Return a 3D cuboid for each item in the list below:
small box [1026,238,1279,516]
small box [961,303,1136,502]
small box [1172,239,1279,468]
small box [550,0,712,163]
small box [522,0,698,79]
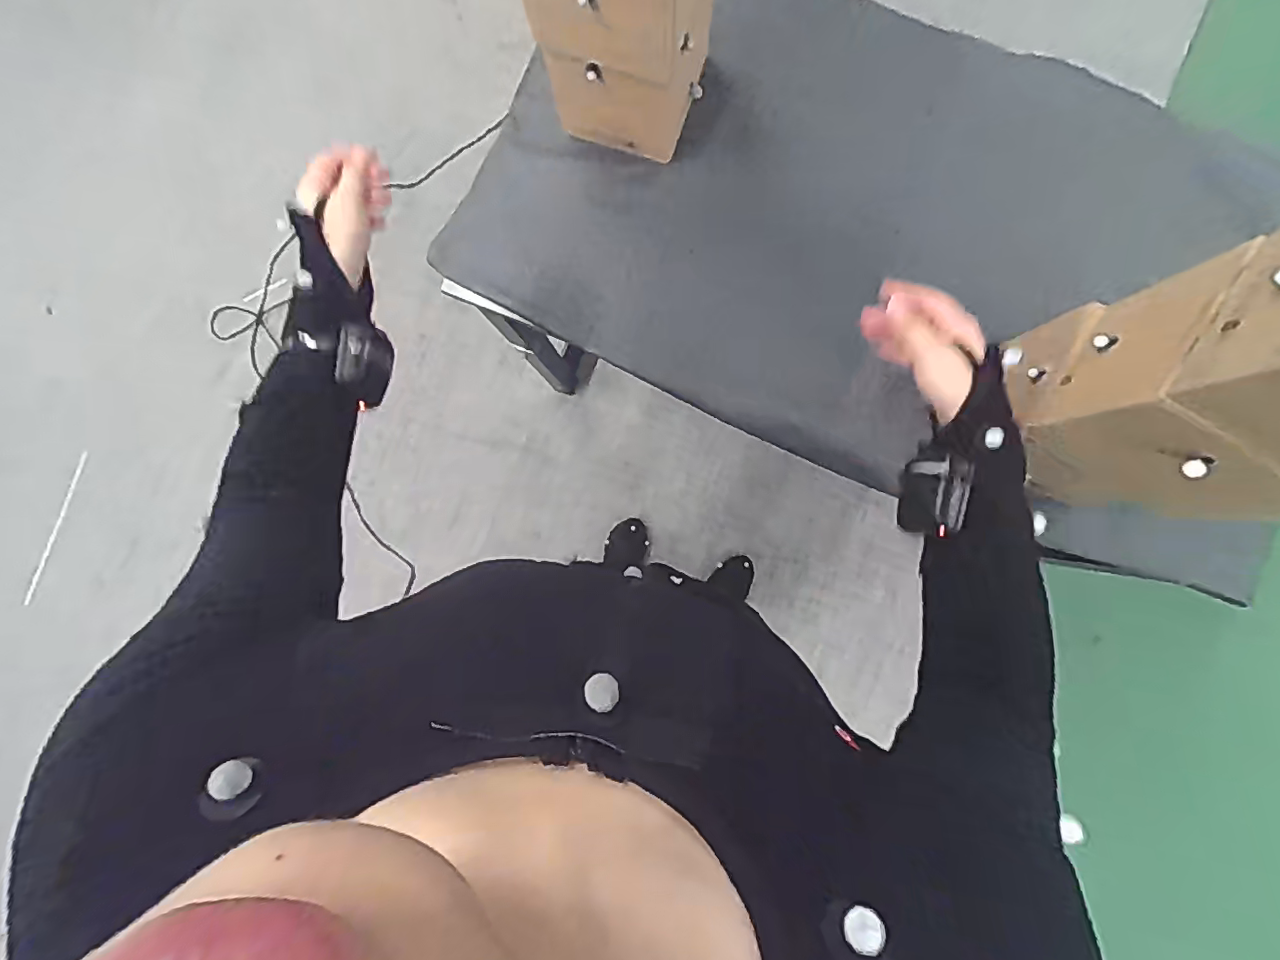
[{"bbox_3d":[0.528,-0.078,0.507,0.179,0.176,0.168,34,88,5],"label":"small box"},{"bbox_3d":[0.540,-0.082,0.670,0.168,0.176,0.179,23,88,4],"label":"small box"},{"bbox_3d":[0.525,-0.089,0.343,0.179,0.176,0.168,36,88,5],"label":"small box"},{"bbox_3d":[-0.009,-0.568,0.714,0.168,0.176,0.179,18,89,2],"label":"small box"},{"bbox_3d":[-0.021,-0.558,0.548,0.179,0.176,0.168,19,90,3],"label":"small box"}]
